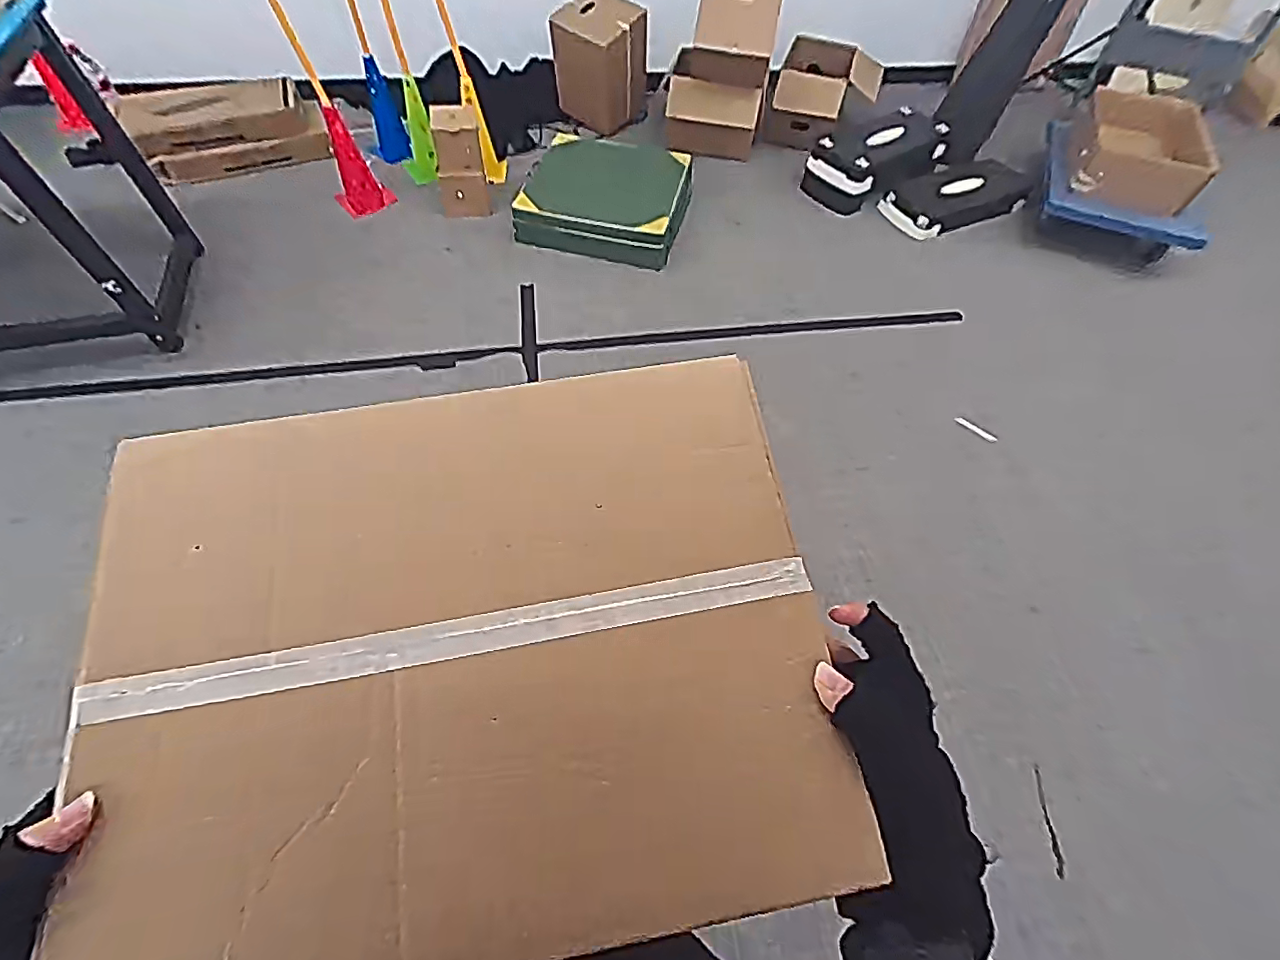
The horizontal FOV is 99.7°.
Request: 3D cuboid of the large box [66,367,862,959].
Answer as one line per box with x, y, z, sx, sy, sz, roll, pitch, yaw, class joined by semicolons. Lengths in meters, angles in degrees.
-0.105;0.143;0.455;0.408;0.320;0.320;-9;70;-5;large box
